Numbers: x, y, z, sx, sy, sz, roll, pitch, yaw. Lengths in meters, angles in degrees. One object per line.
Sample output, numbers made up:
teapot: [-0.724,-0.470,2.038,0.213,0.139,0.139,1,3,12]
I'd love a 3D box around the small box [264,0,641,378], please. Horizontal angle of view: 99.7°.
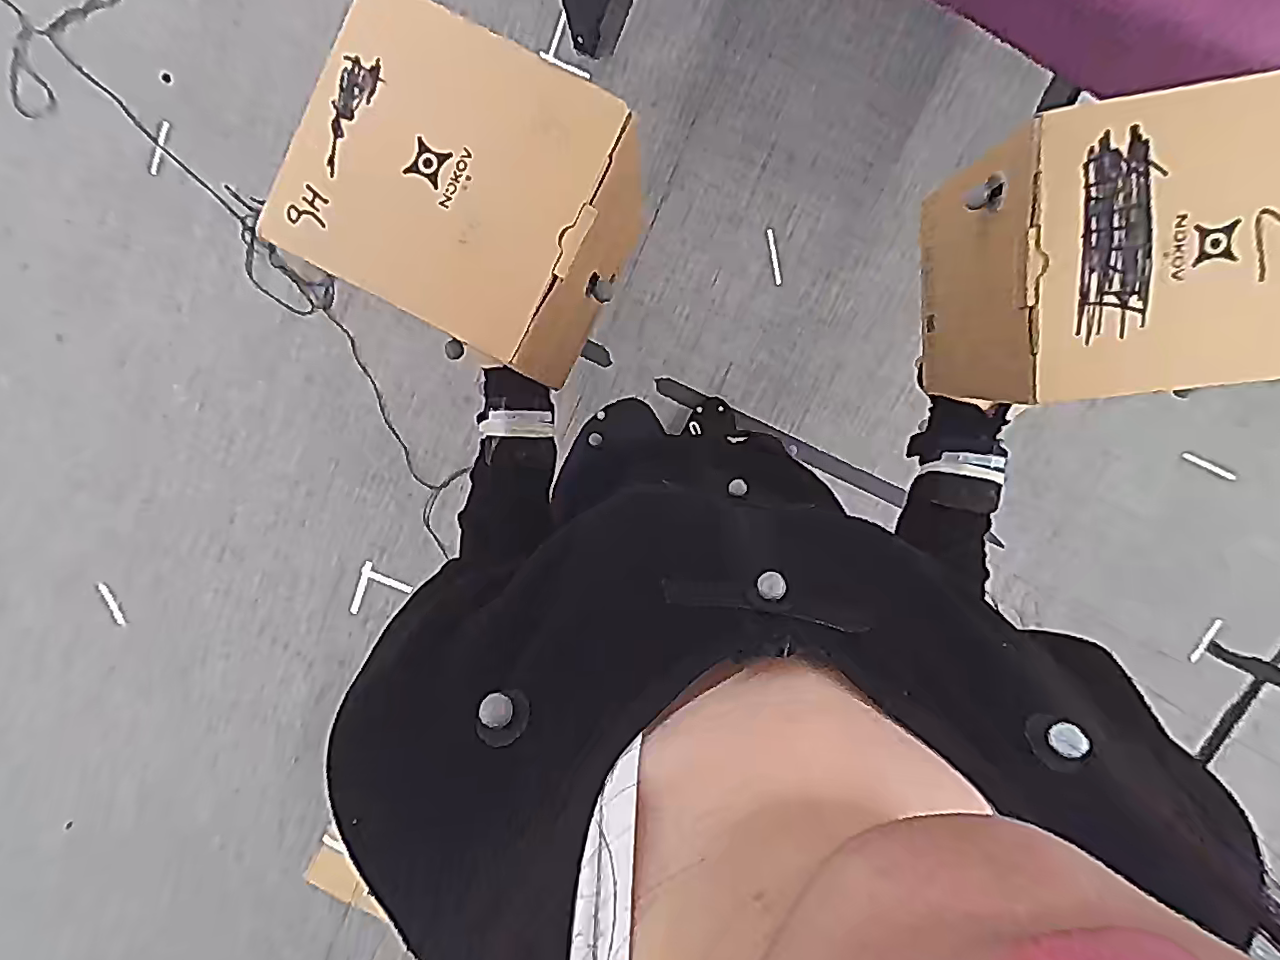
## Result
small box: [-0.110,-0.186,0.396,0.179,0.176,0.168,27,94,-1]
